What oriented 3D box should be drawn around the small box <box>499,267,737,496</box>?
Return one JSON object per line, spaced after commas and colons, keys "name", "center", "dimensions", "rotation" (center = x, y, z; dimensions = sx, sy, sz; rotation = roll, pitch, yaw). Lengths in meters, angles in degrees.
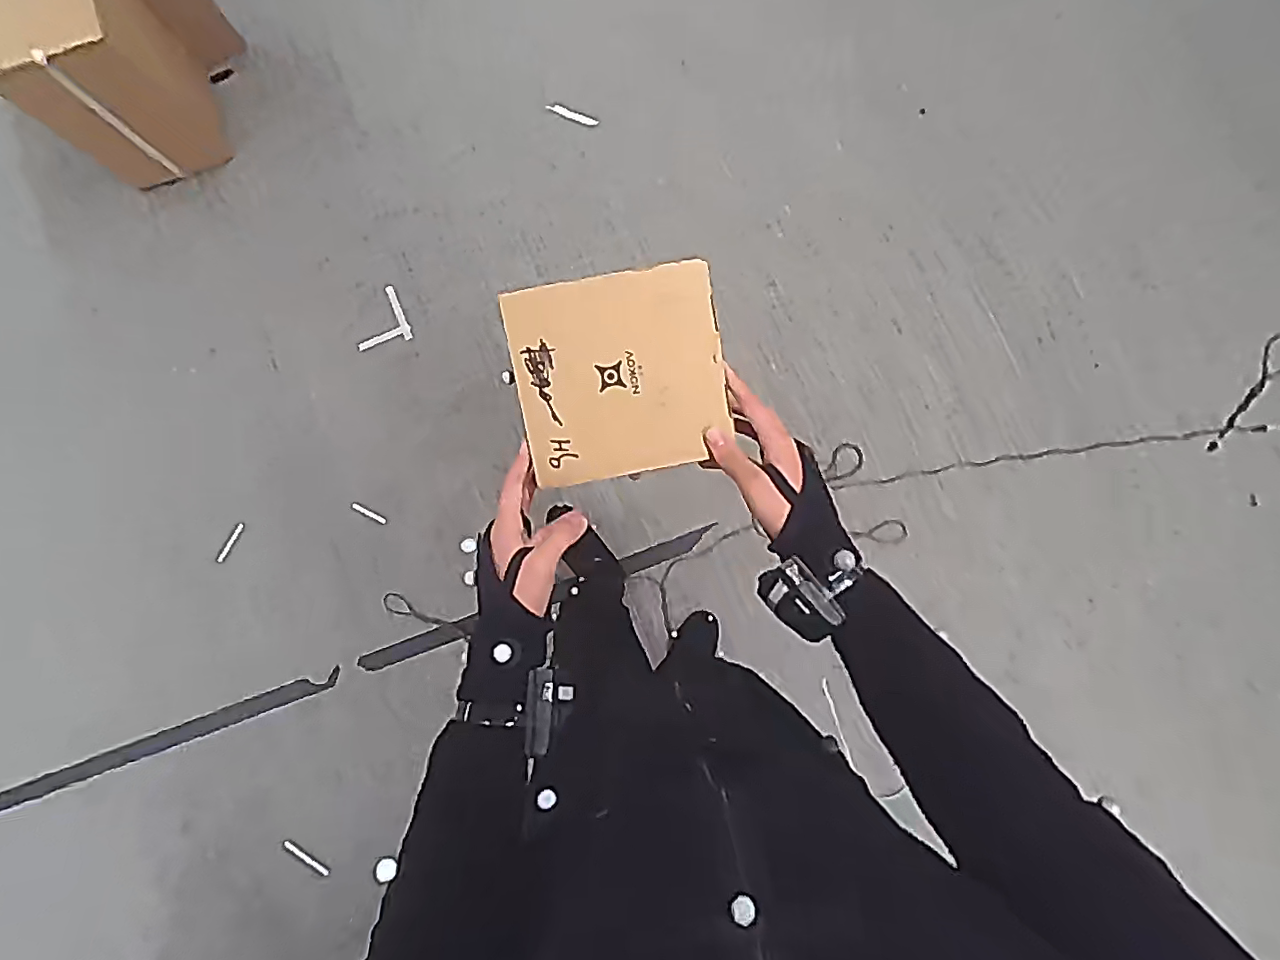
{"name": "small box", "center": [-0.021, -0.088, 0.524], "dimensions": [0.179, 0.176, 0.168], "rotation": [-11, 96, -3]}
